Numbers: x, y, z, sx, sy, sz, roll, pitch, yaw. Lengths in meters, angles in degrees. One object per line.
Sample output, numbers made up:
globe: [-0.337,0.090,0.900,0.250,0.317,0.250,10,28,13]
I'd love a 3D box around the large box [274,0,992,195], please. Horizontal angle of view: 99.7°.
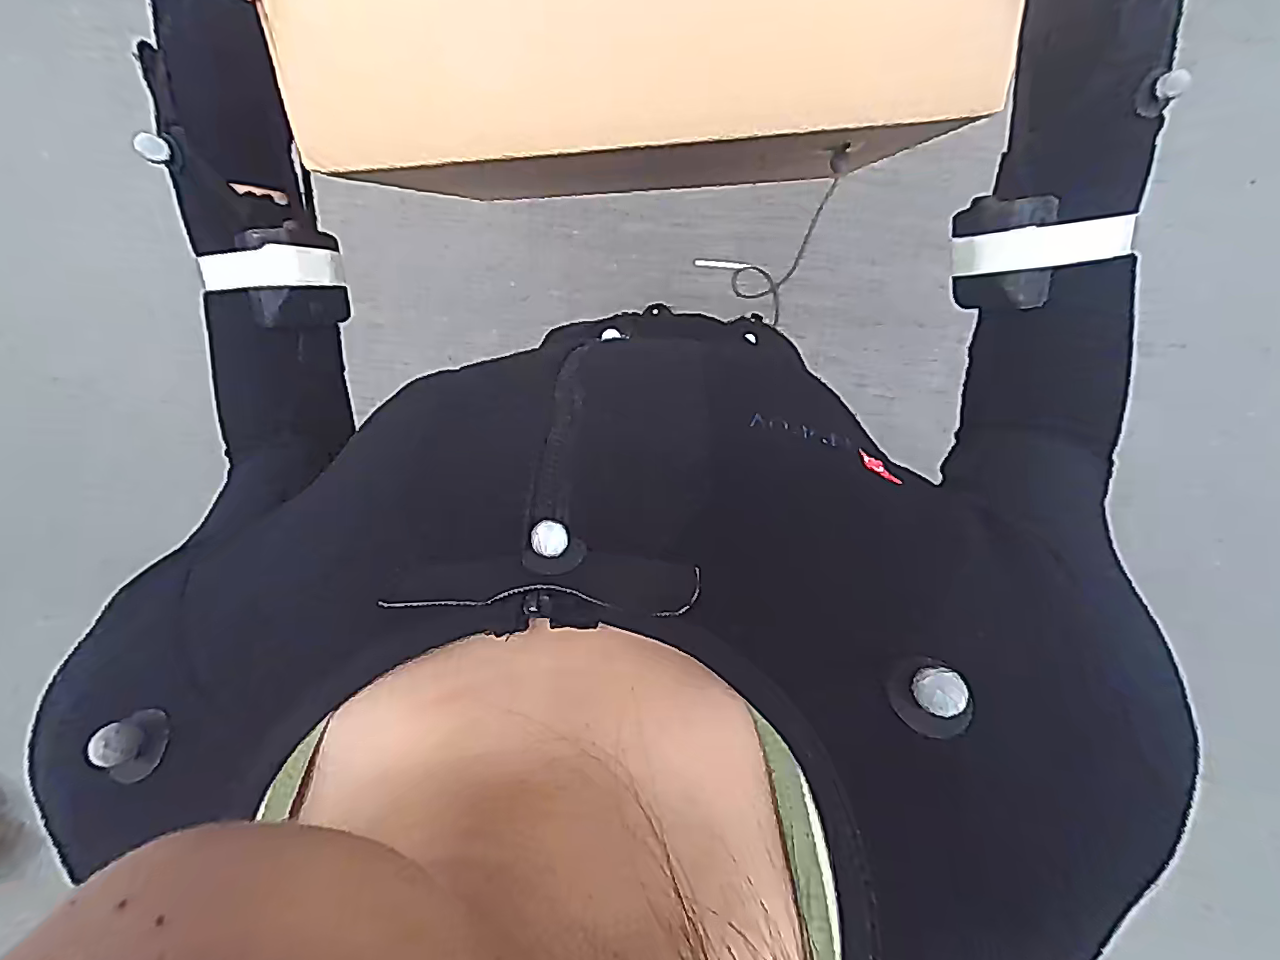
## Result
large box: [-0.005,-0.405,0.398,0.408,0.320,0.320,-2,114,6]
